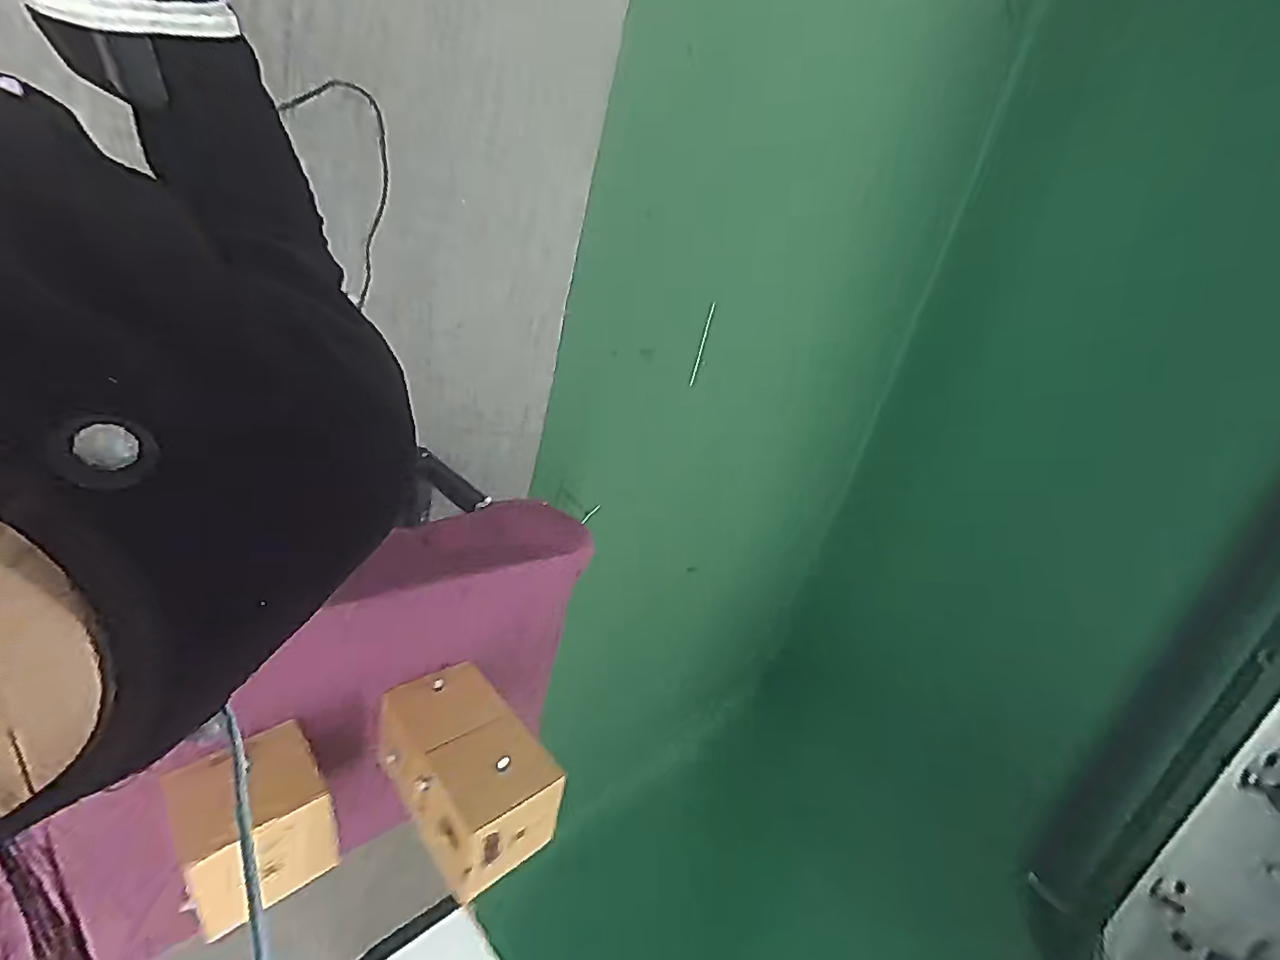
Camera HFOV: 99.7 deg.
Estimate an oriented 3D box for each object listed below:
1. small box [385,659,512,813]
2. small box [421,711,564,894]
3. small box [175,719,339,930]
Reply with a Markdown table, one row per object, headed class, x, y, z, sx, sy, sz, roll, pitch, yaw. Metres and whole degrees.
| class | x | y | z | sx | sy | sz | roll | pitch | yaw |
| --- | --- | --- | --- | --- | --- | --- | --- | --- | --- |
| small box | -0.373 | 0.479 | 1.041 | 0.179 | 0.176 | 0.168 | -9 | 120 | -44 |
| small box | -0.261 | 0.544 | 0.939 | 0.179 | 0.176 | 0.168 | -10 | 120 | -46 |
| small box | -0.583 | 0.513 | 0.829 | 0.168 | 0.176 | 0.179 | -16 | 124 | -43 |
